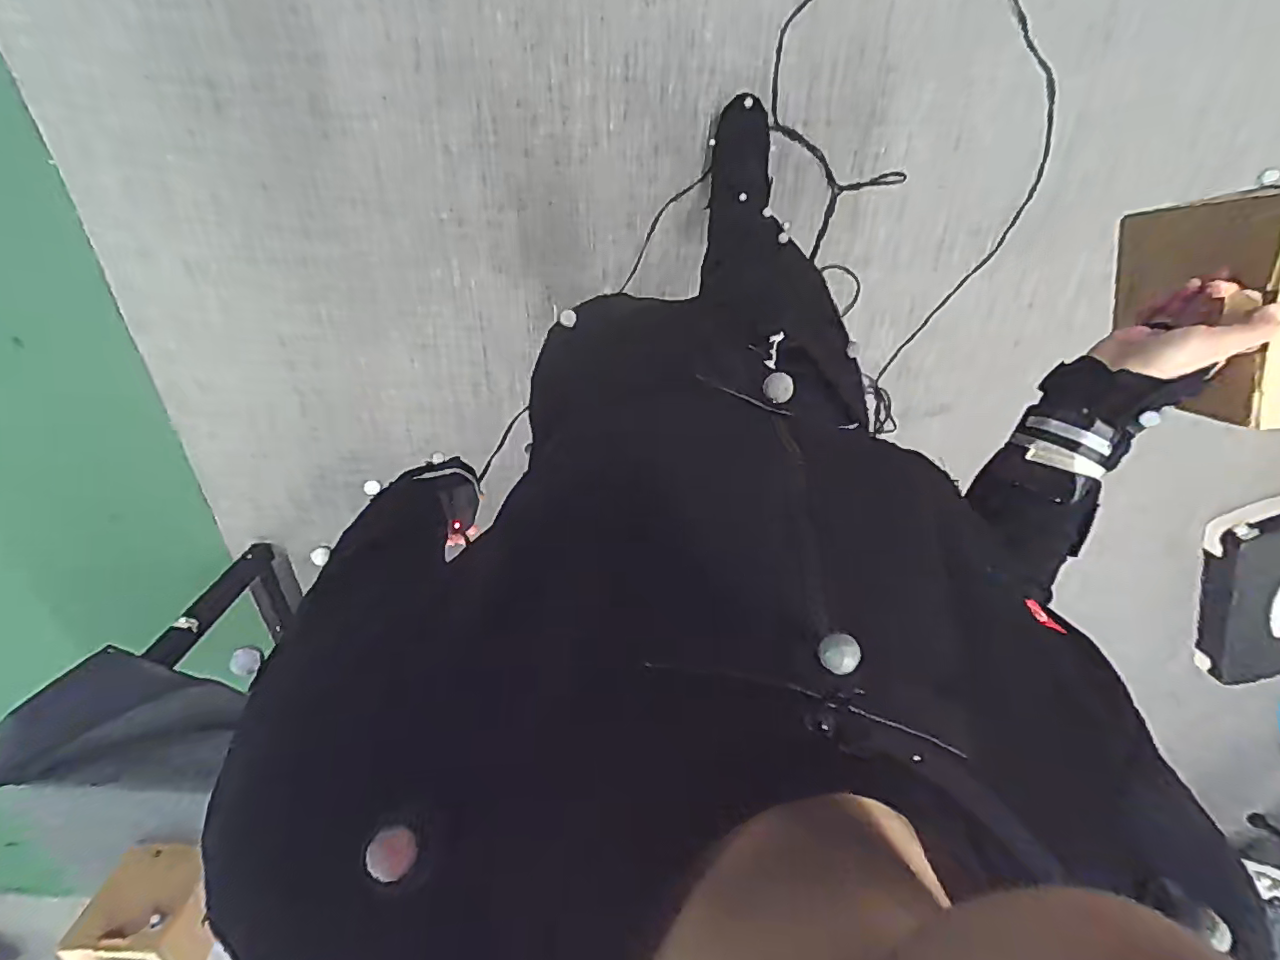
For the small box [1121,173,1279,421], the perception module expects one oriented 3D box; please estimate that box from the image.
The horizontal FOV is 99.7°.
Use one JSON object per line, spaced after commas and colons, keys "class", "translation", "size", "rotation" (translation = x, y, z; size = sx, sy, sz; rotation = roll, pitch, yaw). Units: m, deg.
{"class": "small box", "translation": [0.535, -0.158, 0.428], "size": [0.179, 0.176, 0.168], "rotation": [-9, 110, 11]}
